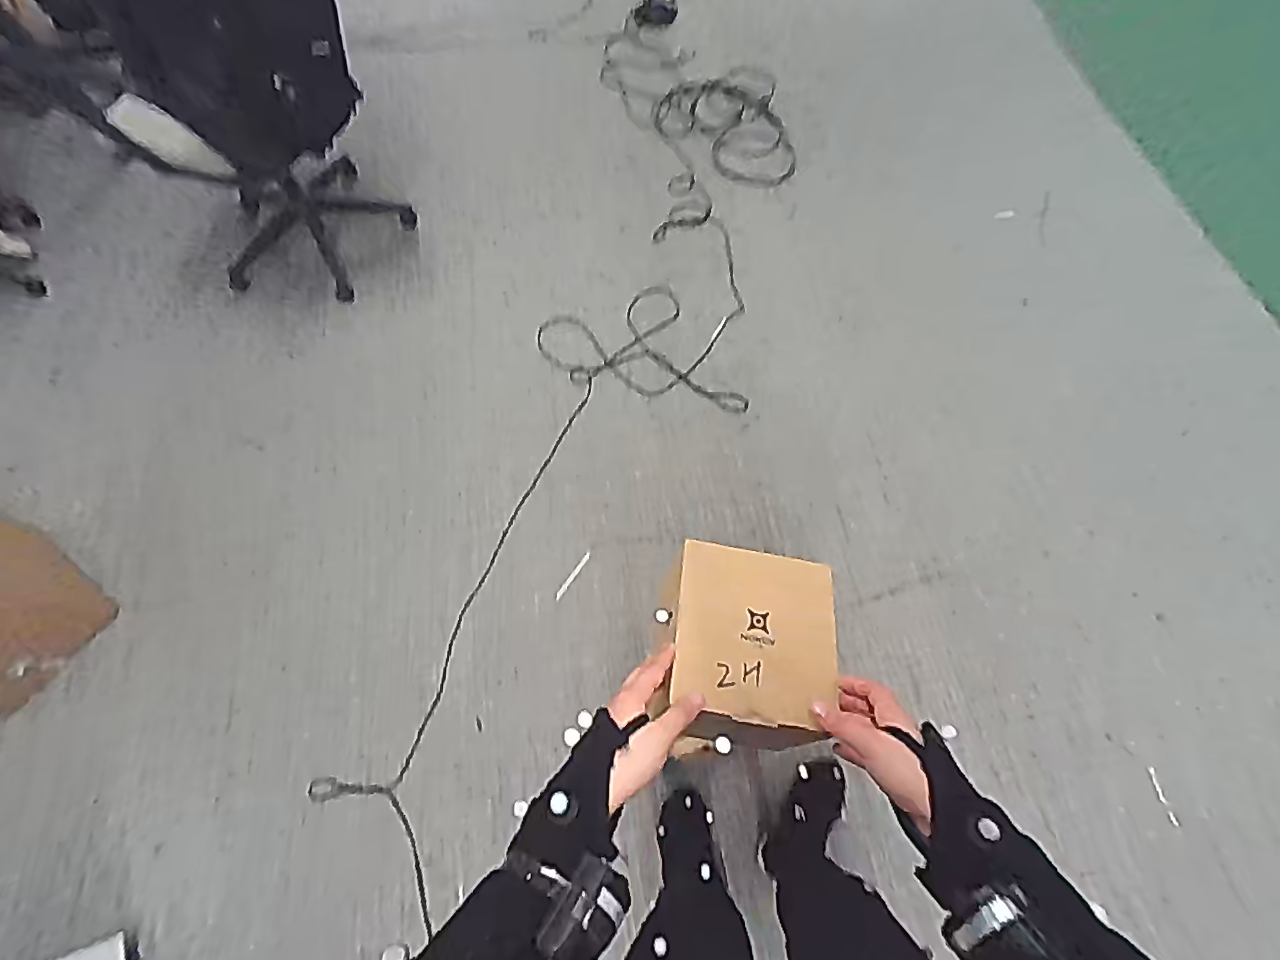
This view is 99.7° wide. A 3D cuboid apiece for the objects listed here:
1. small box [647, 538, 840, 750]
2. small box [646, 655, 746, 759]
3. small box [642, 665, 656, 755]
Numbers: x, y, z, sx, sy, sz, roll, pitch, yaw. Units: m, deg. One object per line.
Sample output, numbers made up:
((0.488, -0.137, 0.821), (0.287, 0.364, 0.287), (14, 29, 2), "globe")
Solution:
((0.106, 0.189, 0.605), (0.168, 0.176, 0.179), (11, 60, -2), "small box")
((0.104, 0.431, 1.049), (0.168, 0.176, 0.179), (-7, 65, -2), "small box")
((0.097, 0.499, 1.199), (0.168, 0.176, 0.179), (-7, 66, -2), "small box")
